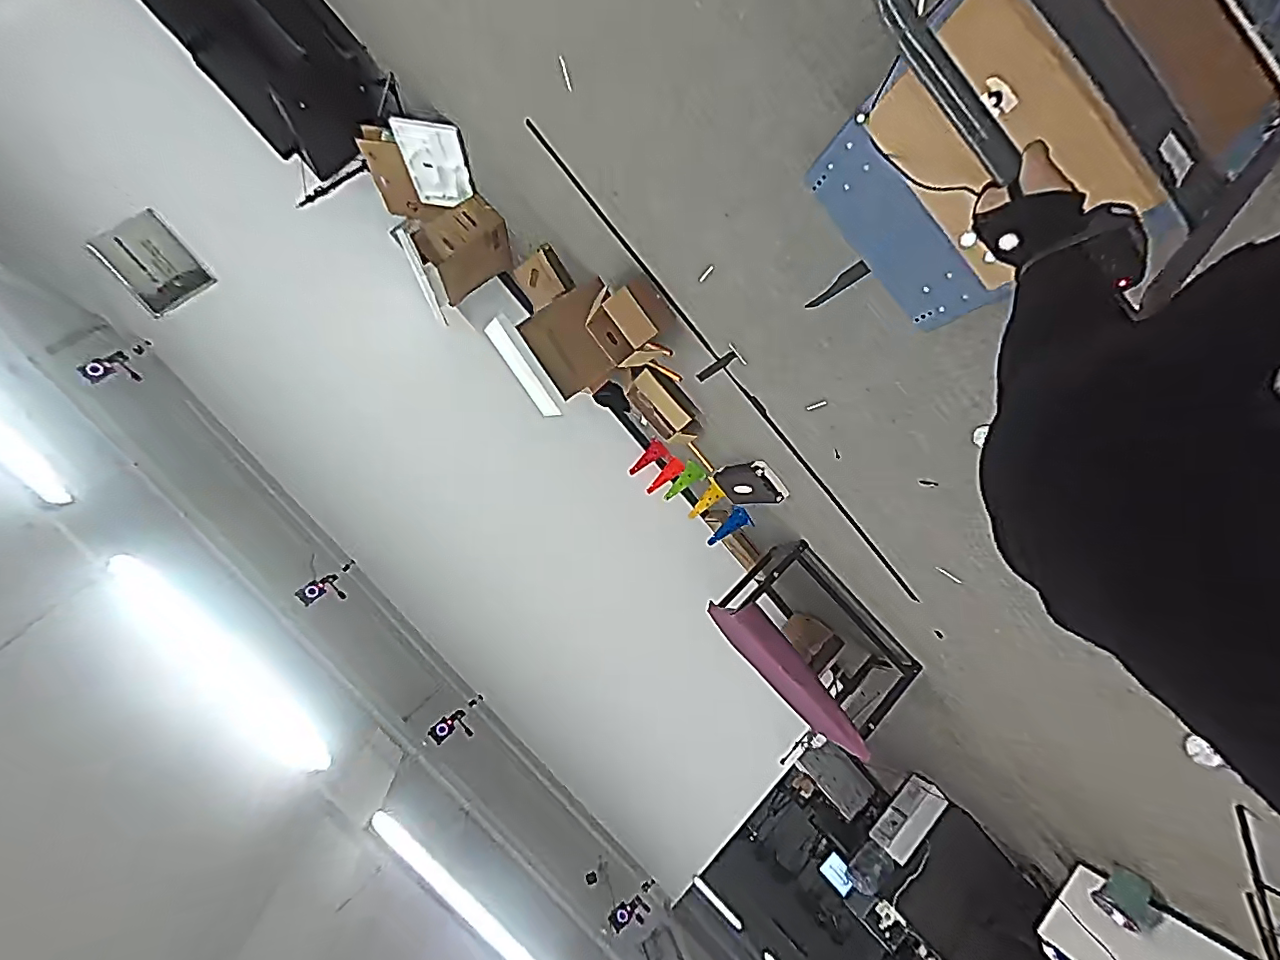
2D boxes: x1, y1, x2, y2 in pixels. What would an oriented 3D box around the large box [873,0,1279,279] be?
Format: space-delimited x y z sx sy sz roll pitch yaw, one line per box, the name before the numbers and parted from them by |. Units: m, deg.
large box | 0.699 -0.636 0.899 0.408 0.320 0.320 50 165 -4
